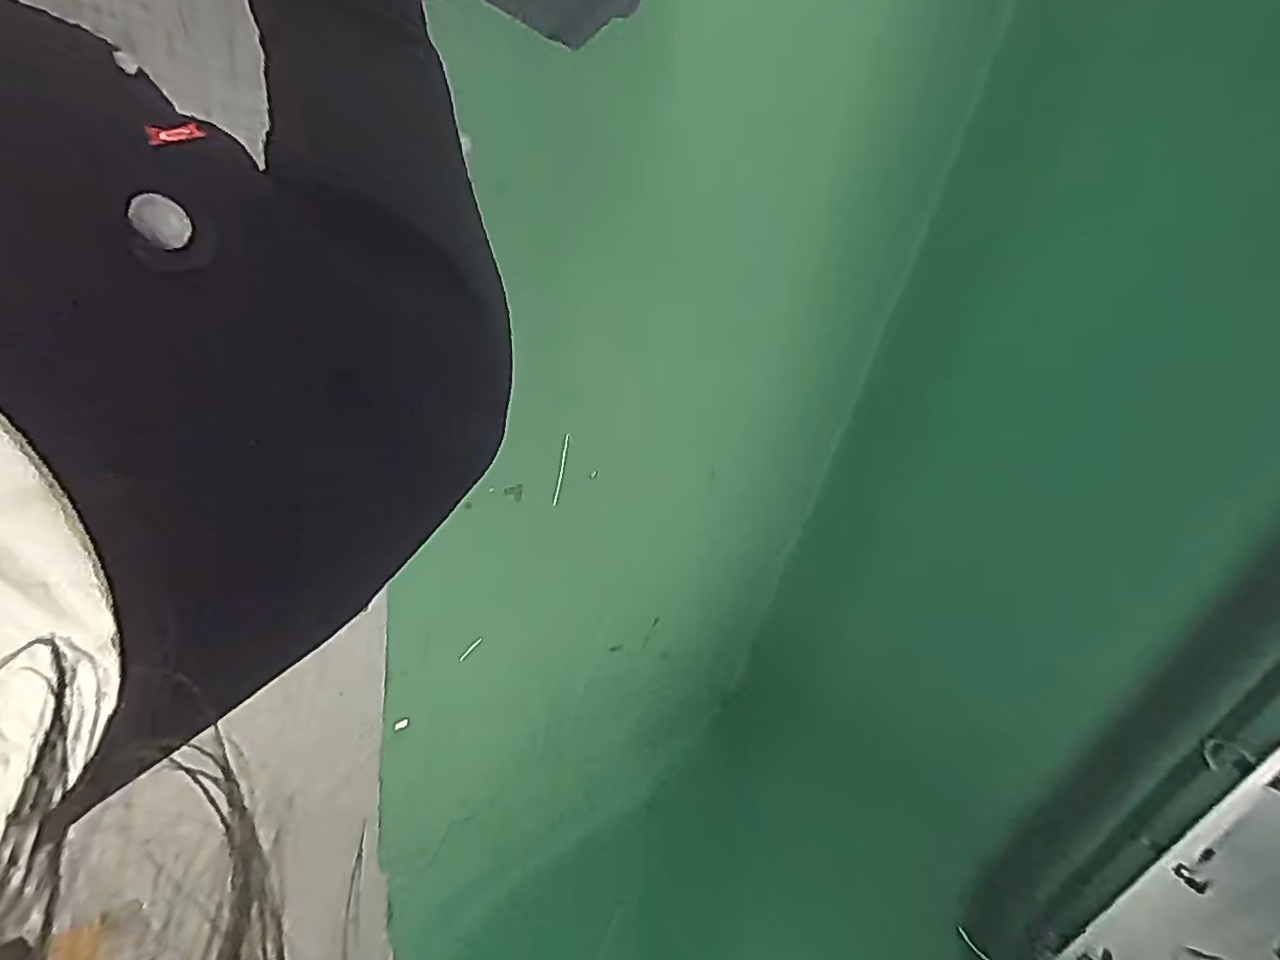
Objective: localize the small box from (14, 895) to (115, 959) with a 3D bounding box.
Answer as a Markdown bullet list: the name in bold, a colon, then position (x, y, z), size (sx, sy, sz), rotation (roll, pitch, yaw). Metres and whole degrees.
- **small box**: position (-1.632, 1.350, 1.536), size (0.179, 0.176, 0.168), rotation (-15, 130, -45)
